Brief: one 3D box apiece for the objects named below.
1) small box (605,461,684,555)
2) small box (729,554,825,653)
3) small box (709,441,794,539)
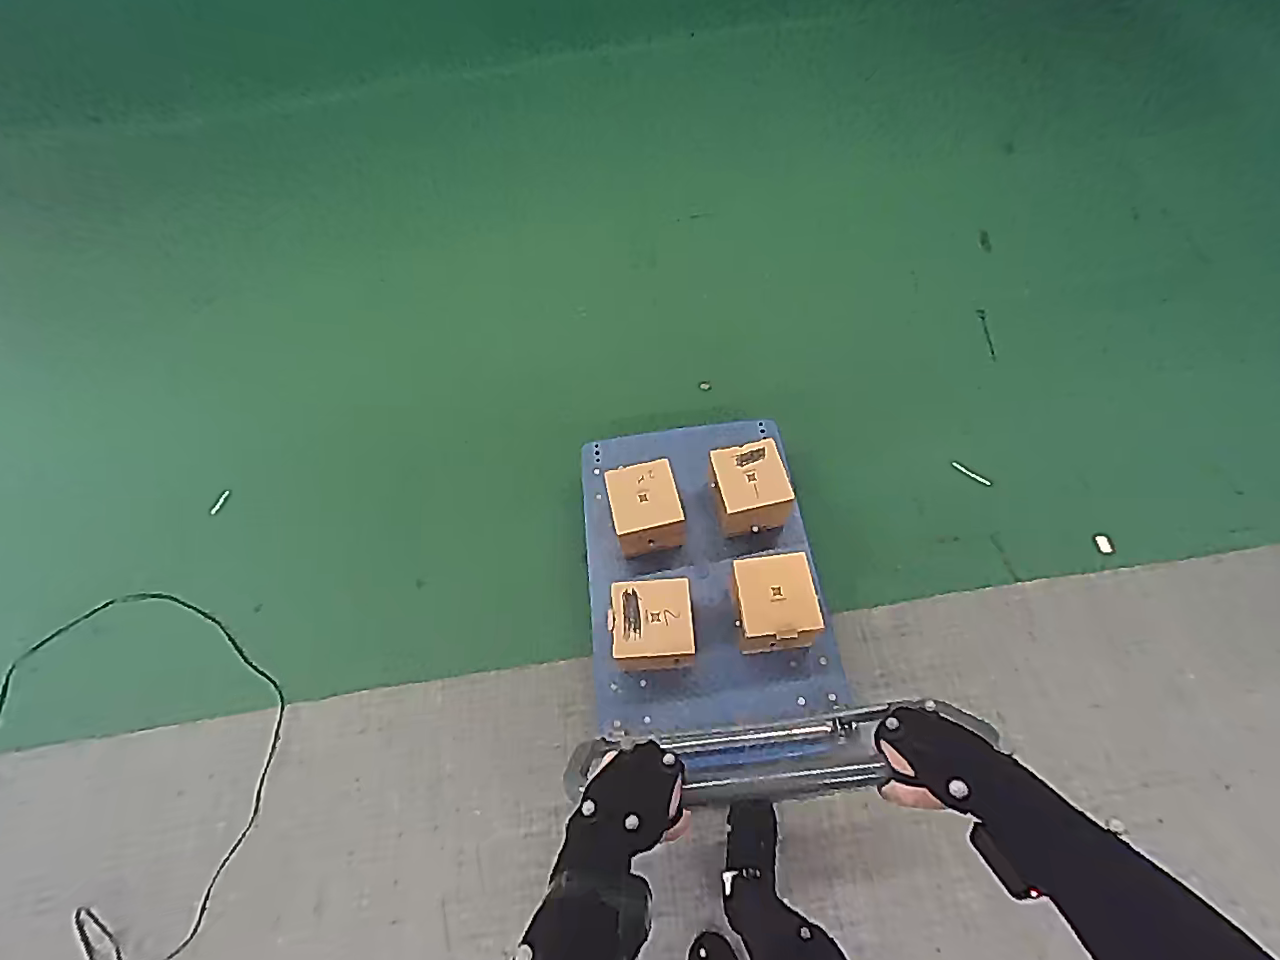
[{"bbox_3d":[0.014,0.079,1.375,0.168,0.176,0.179,-12,62,-3],"label":"small box"},{"bbox_3d":[0.304,0.287,1.243,0.168,0.176,0.179,-7,62,1],"label":"small box"},{"bbox_3d":[0.275,0.028,1.380,0.168,0.176,0.179,-12,63,-1],"label":"small box"}]
